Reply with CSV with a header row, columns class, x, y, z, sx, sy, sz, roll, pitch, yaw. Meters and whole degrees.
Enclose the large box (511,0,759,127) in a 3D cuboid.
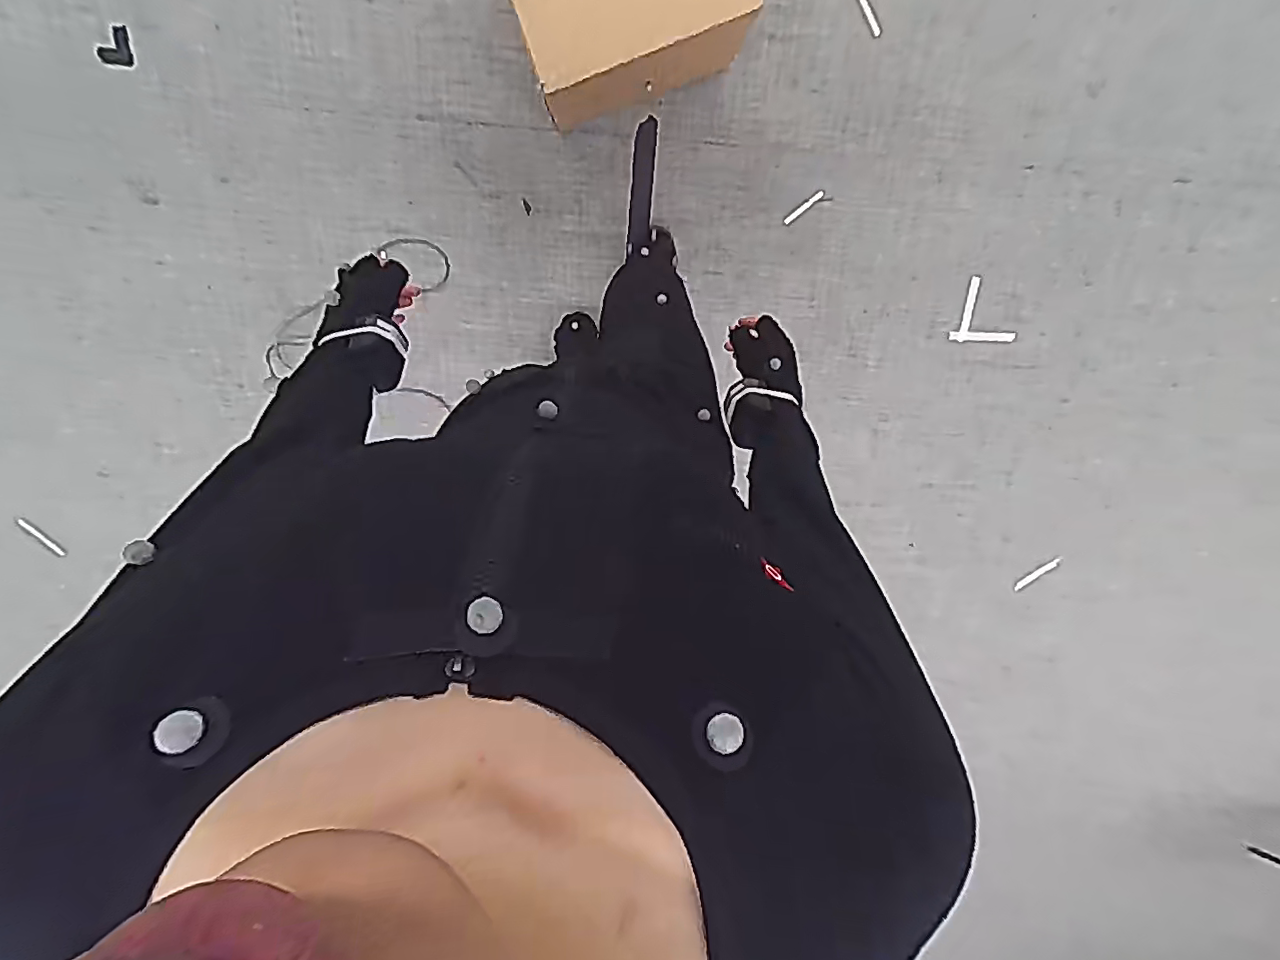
class,x,y,z,sx,sy,sz,roll,pitch,yaw
large box,-0.035,-0.932,1.014,0.408,0.320,0.320,-18,111,6
